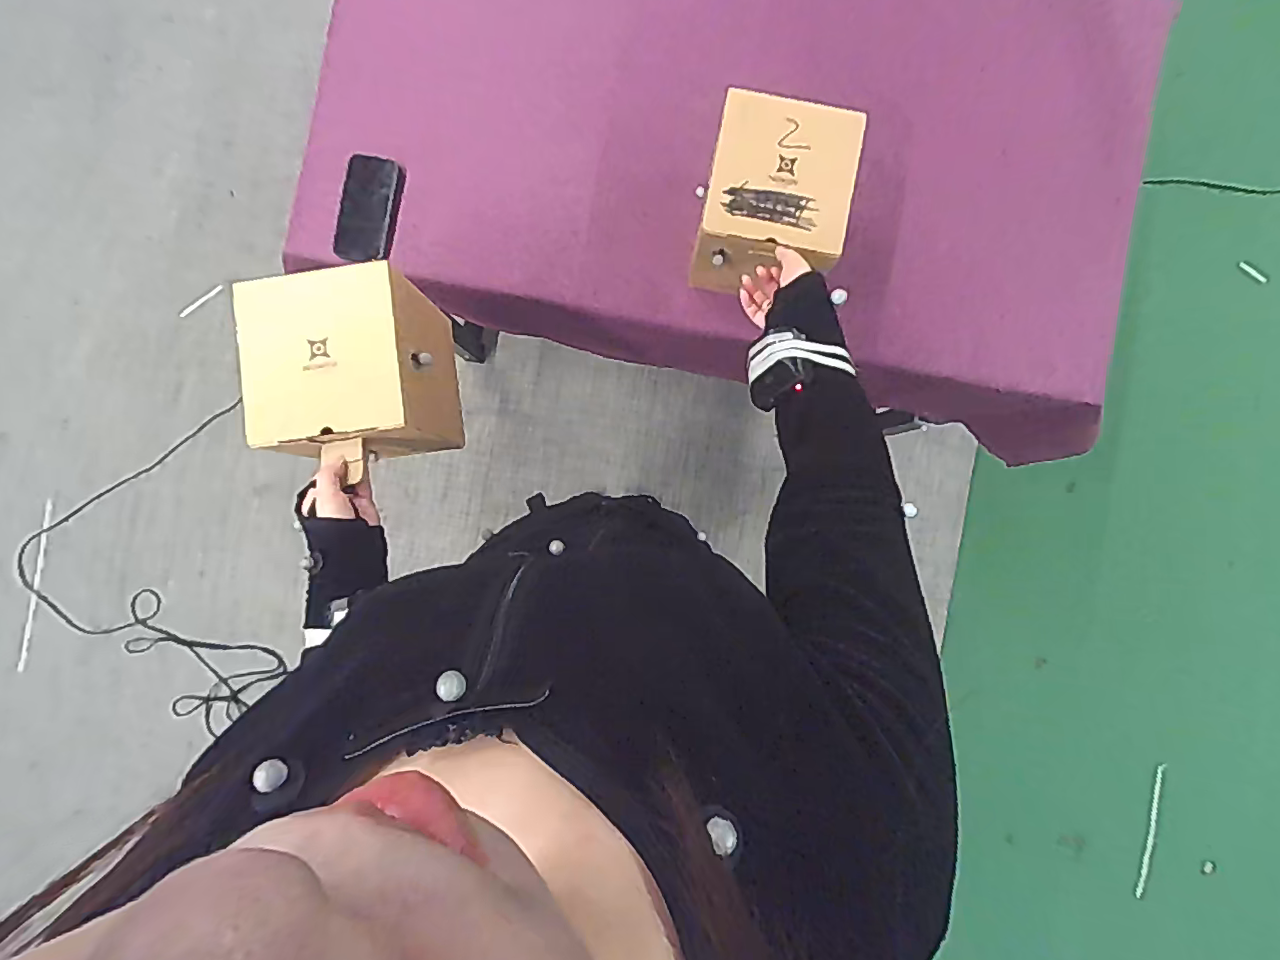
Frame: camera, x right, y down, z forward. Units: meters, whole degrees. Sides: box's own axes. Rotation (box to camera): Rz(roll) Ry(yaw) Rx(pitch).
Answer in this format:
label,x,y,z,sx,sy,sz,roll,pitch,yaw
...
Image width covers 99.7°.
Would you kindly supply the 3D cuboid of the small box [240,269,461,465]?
label,x,y,z,sx,sy,sz,roll,pitch,yaw
small box,-0.326,-0.120,0.640,0.168,0.176,0.179,-8,87,1
